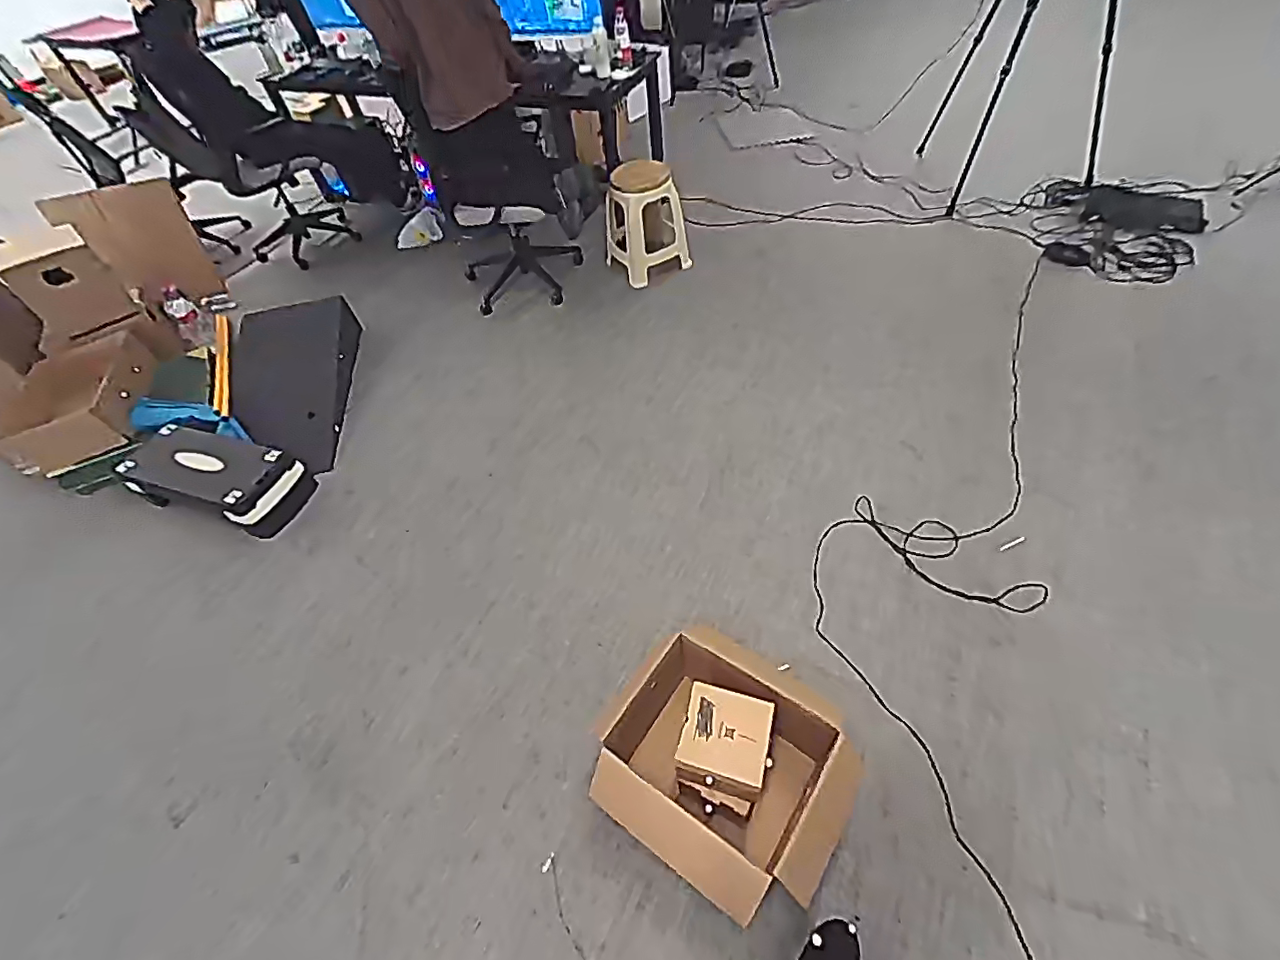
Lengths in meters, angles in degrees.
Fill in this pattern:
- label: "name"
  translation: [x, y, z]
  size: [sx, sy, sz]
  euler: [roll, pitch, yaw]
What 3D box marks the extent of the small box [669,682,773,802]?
- label: "small box"
  translation: [0.175, 0.565, 1.159]
  size: [0.179, 0.176, 0.168]
  euler: [13, 55, 18]
